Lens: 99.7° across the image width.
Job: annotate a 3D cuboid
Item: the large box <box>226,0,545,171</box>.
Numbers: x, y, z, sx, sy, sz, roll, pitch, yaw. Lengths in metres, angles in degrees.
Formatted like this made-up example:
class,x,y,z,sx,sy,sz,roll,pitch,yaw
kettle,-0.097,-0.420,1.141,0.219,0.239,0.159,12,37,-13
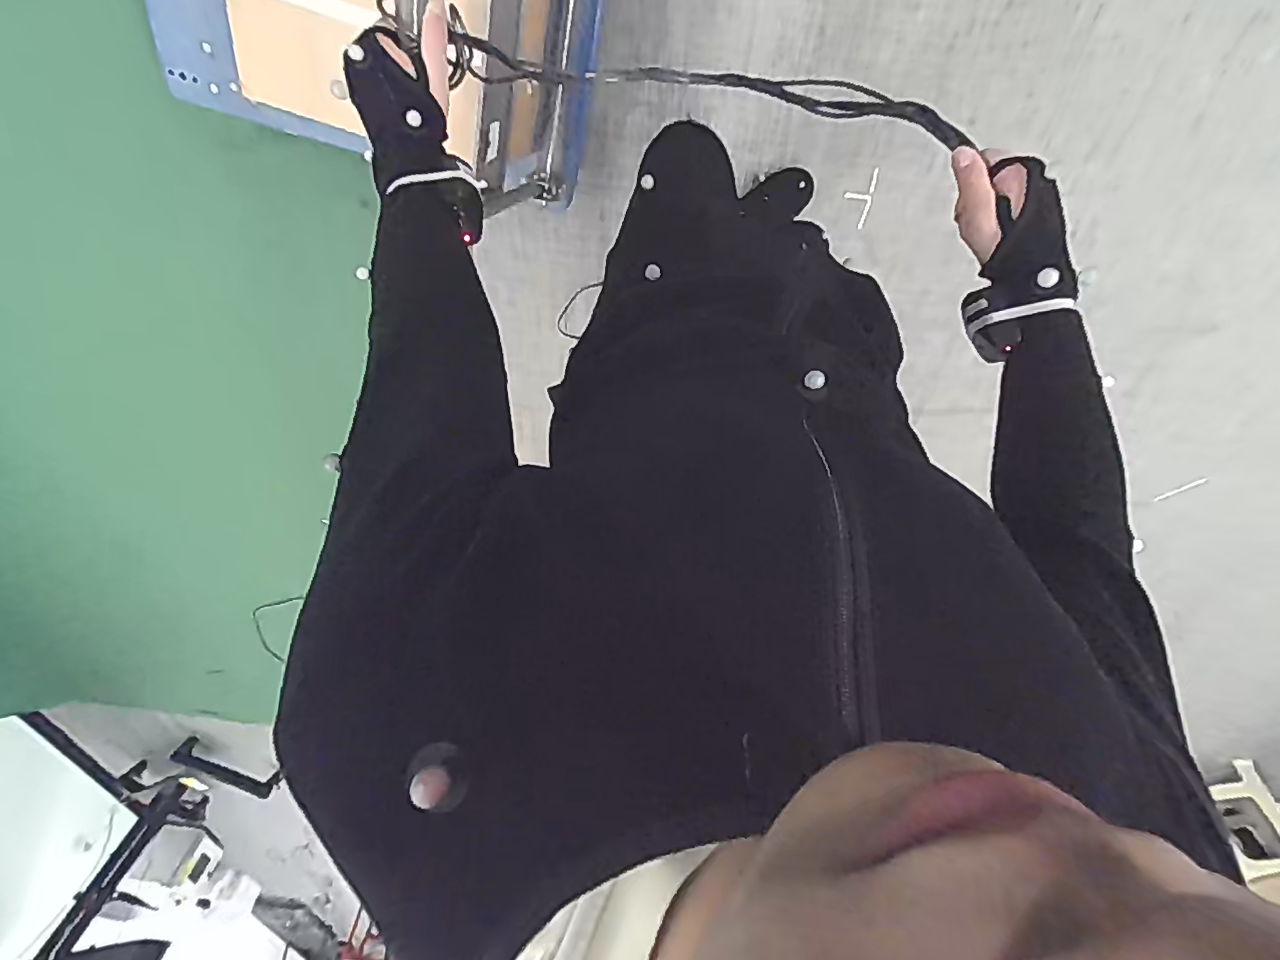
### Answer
class,x,y,z,sx,sy,sz,roll,pitch,yaw
large box,-0.401,-0.775,0.922,0.408,0.320,0.320,16,126,-5
